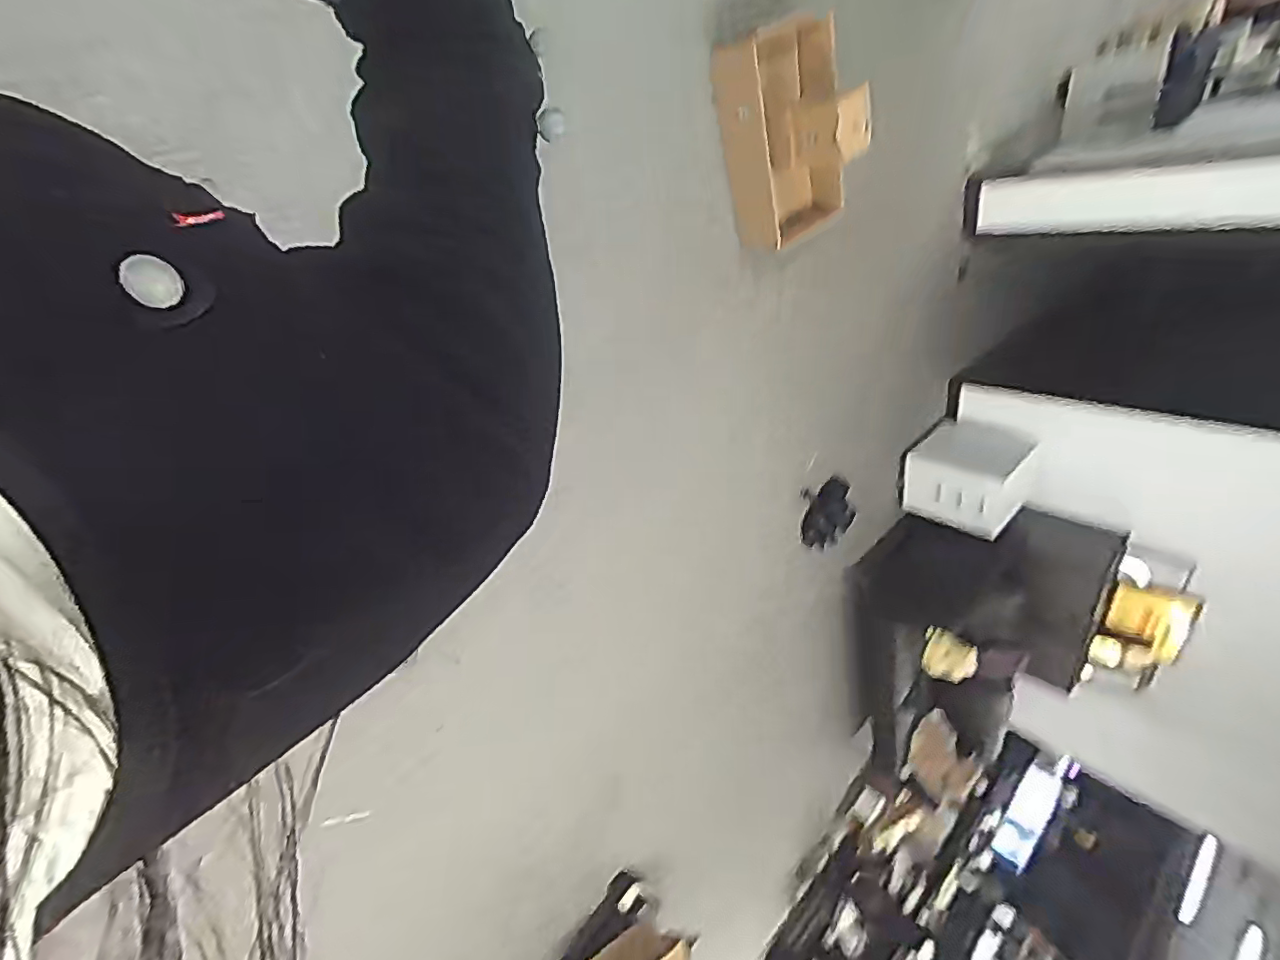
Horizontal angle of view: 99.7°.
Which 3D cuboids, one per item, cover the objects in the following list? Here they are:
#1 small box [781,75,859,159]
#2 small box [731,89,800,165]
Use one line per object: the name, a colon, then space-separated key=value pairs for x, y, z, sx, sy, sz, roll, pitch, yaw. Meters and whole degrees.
small box: x=0.560 y=-1.136 z=1.702 sx=0.179 sy=0.176 sz=0.168 roll=-41 pitch=130 yaw=-24
small box: x=0.429 y=-1.178 z=1.817 sx=0.168 sy=0.176 sz=0.179 roll=-39 pitch=128 yaw=-27
